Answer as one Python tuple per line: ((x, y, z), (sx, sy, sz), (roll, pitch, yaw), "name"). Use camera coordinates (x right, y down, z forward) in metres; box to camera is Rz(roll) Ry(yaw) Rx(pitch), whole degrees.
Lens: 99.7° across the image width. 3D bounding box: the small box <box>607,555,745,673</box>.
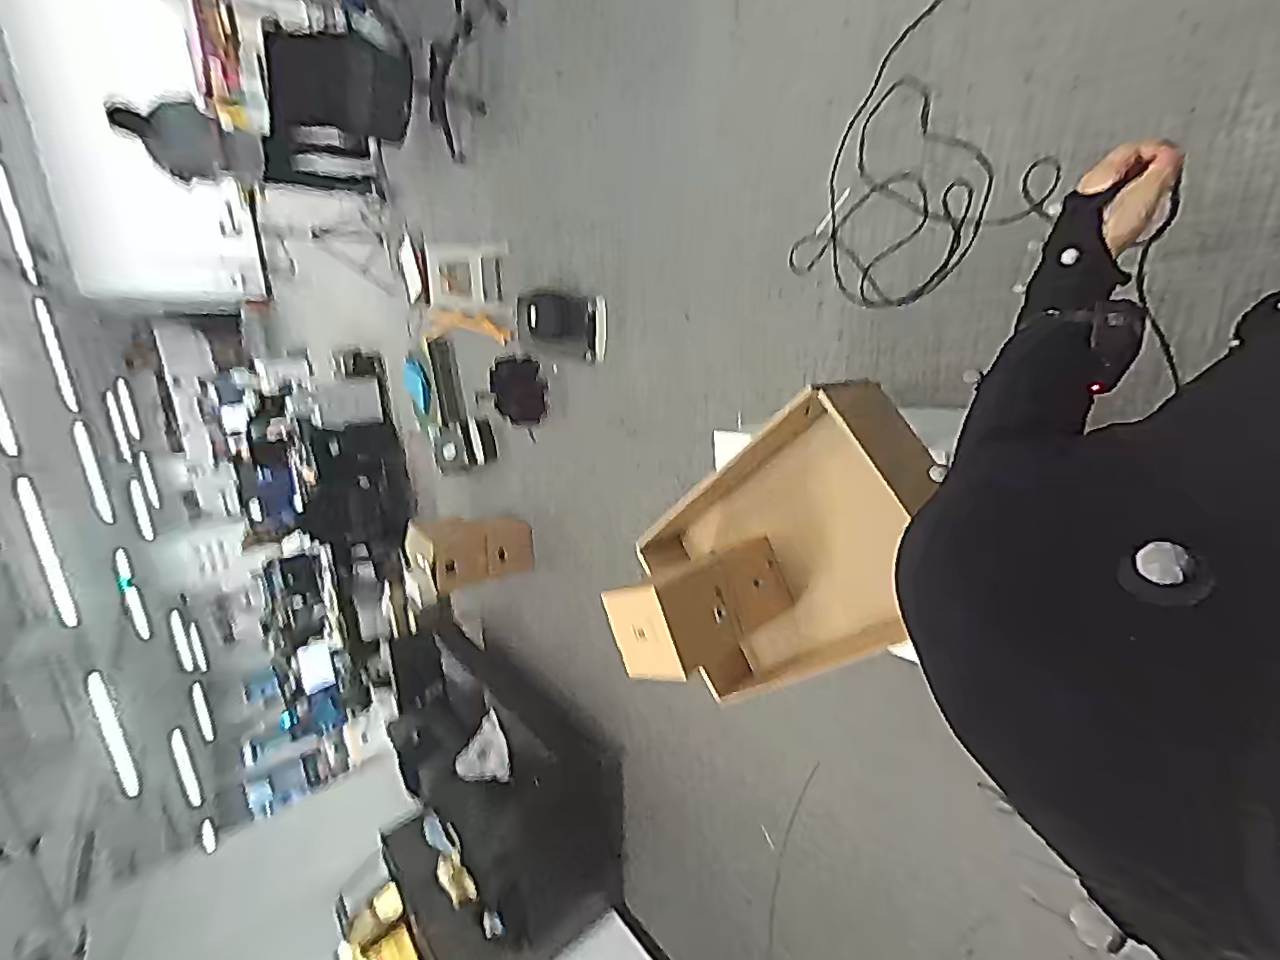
((0.069, 0.256, 1.044), (0.179, 0.176, 0.168), (-24, 85, 50), "small box")
